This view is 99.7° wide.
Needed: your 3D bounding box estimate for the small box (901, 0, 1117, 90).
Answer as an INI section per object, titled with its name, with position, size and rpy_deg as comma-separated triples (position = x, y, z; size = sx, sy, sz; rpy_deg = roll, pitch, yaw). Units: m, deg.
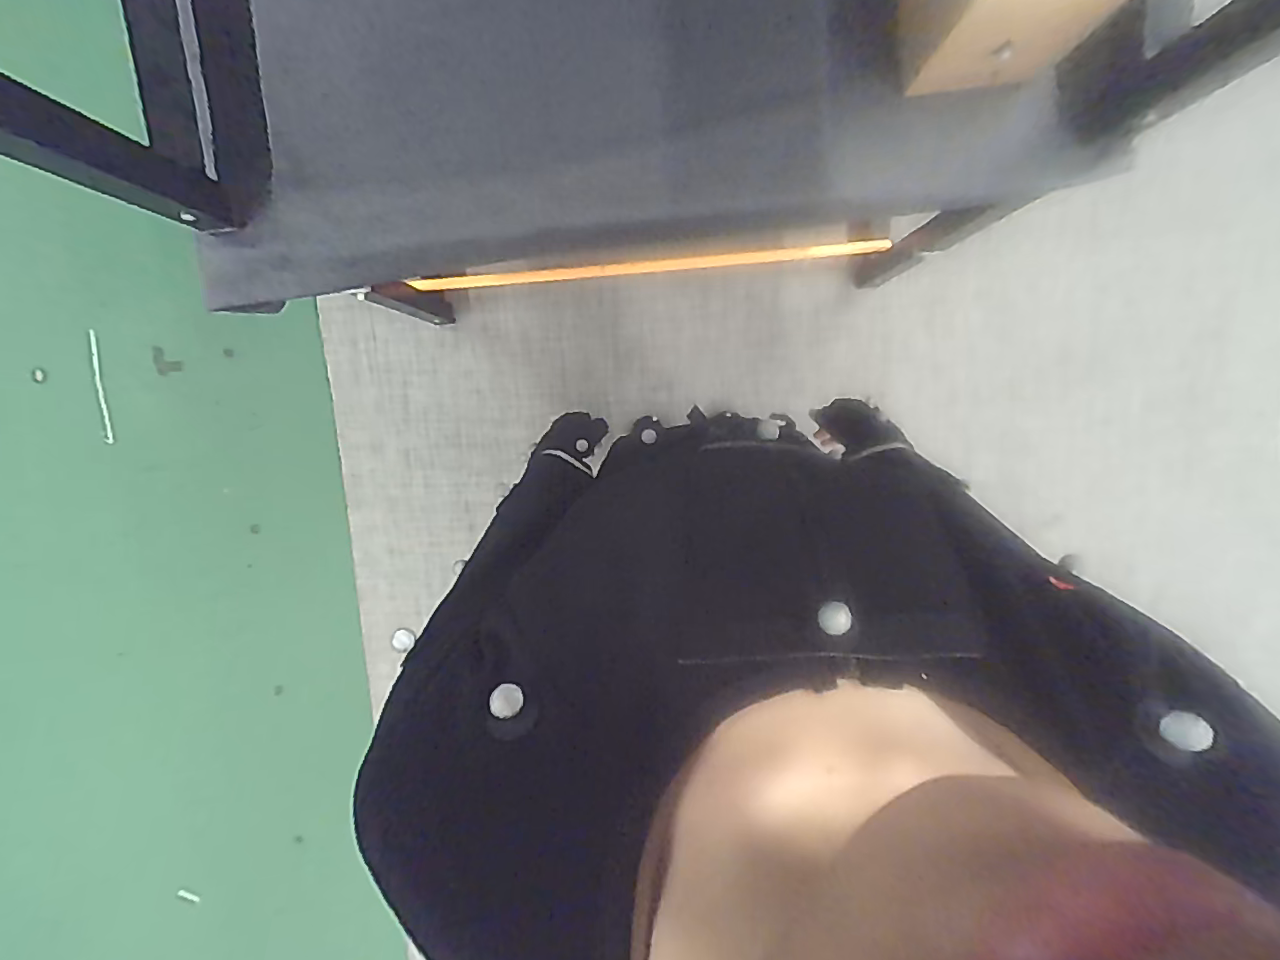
[small box]
position = 0.398, -0.556, 0.582
size = 0.168, 0.176, 0.179
rpy_deg = -6, 96, 3
